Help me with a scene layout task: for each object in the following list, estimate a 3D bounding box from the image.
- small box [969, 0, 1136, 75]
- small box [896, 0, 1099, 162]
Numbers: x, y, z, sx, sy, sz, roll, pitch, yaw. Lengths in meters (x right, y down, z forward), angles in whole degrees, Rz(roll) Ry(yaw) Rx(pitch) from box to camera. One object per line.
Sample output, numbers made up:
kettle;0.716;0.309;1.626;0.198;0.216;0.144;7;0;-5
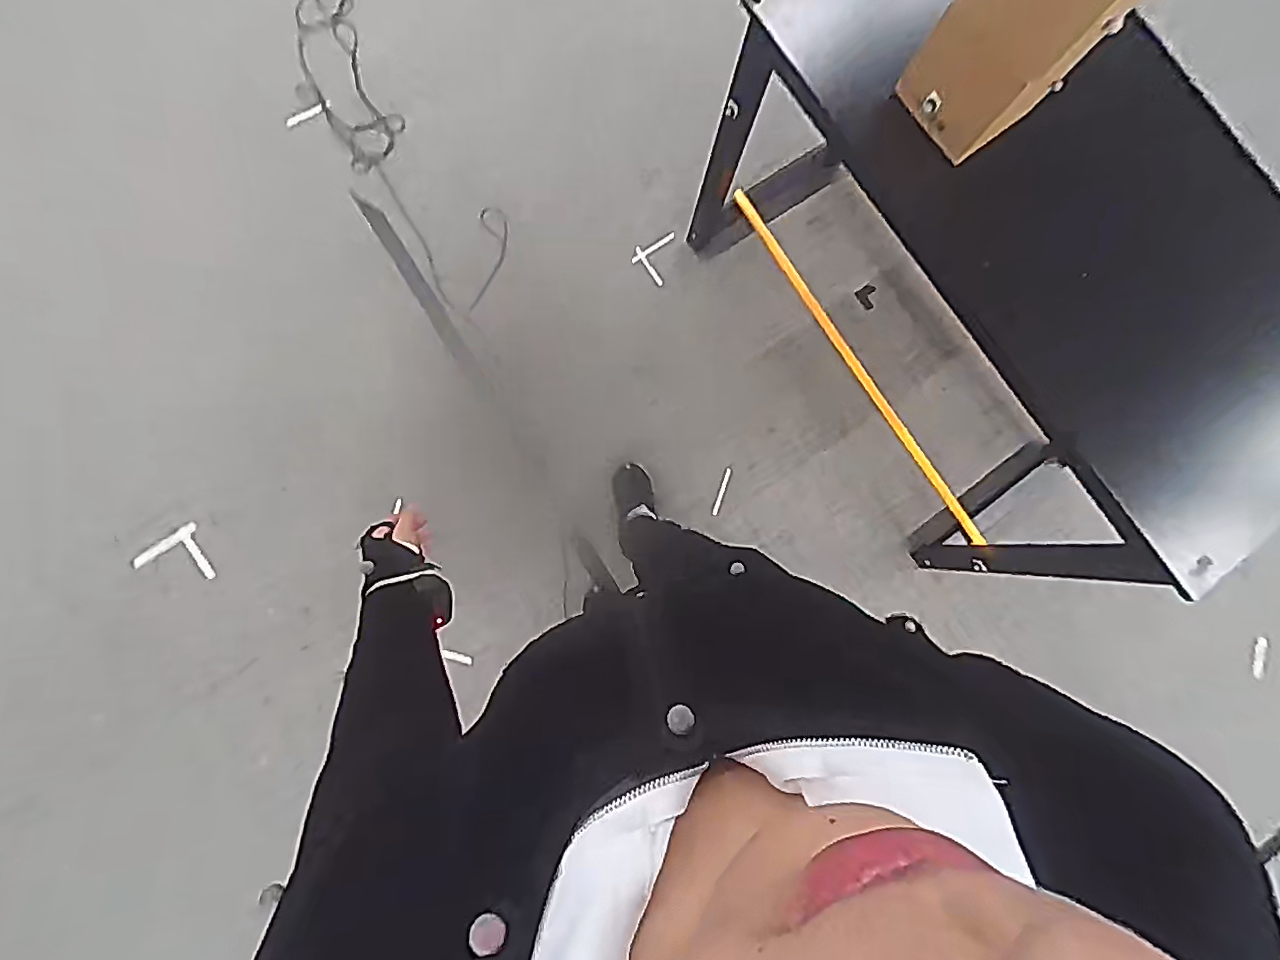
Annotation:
small box;0.547;-0.662;0.664;0.168;0.176;0.179;-38;88;-8
small box;0.538;-0.643;0.828;0.179;0.176;0.168;-38;86;-7
